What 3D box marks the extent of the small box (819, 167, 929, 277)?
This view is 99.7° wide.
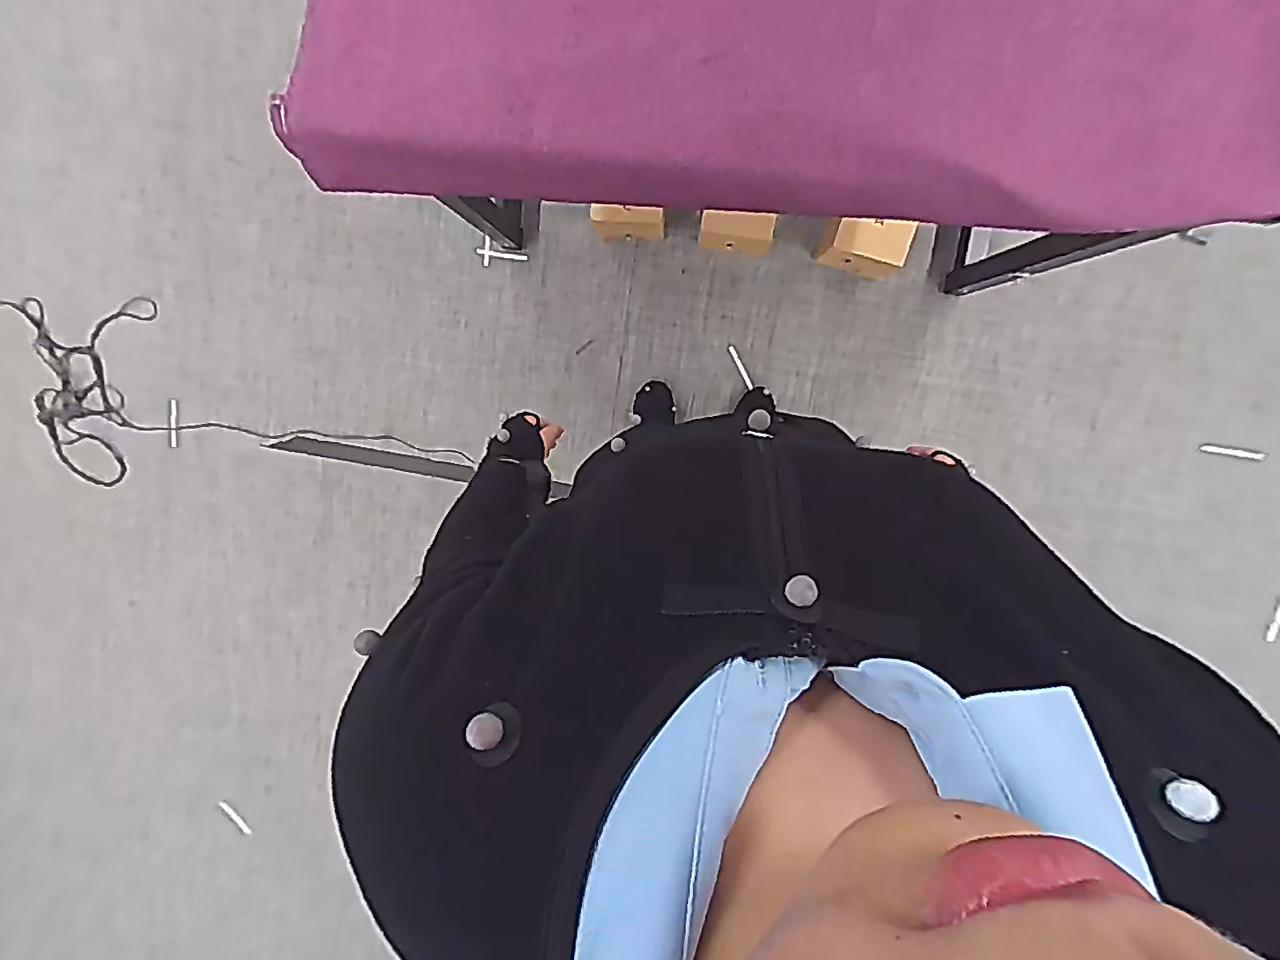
[{"bbox_3d":[0.541,-0.597,1.280,0.168,0.176,0.179,17,101,1],"label":"small box"}]

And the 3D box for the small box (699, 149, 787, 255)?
[{"bbox_3d":[0.237,-0.651,1.288,0.168,0.176,0.179,10,101,1],"label":"small box"}]
